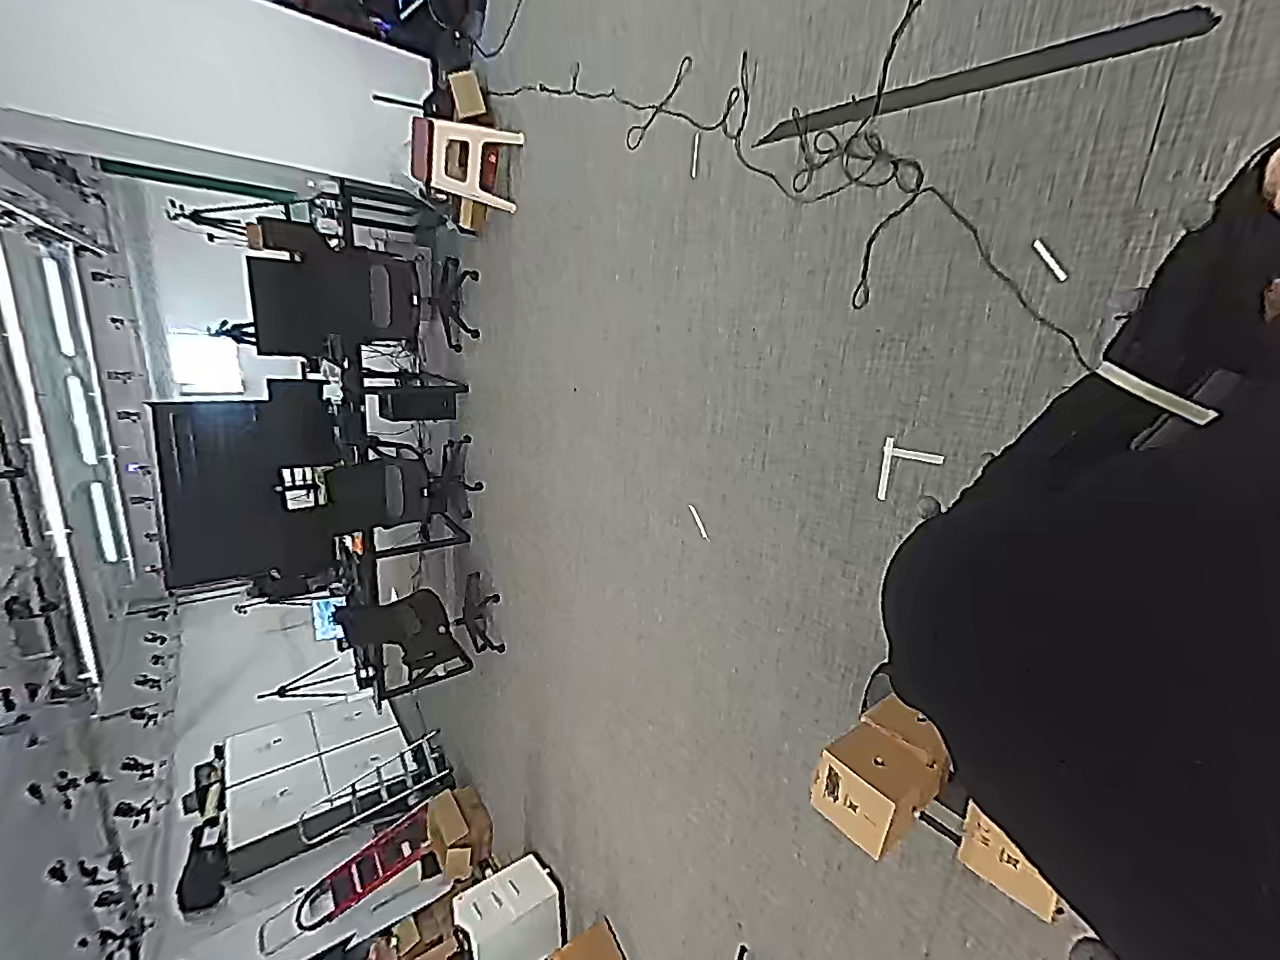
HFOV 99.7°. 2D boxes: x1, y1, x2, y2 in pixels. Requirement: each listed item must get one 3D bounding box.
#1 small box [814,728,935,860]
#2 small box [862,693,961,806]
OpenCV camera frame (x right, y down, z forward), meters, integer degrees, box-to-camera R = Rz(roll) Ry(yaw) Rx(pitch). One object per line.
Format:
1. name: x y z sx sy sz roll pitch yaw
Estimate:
1. small box: 0.534 0.700 1.236 0.179 0.176 0.168 26 117 47
2. small box: 0.662 0.666 1.335 0.168 0.176 0.179 19 111 50
